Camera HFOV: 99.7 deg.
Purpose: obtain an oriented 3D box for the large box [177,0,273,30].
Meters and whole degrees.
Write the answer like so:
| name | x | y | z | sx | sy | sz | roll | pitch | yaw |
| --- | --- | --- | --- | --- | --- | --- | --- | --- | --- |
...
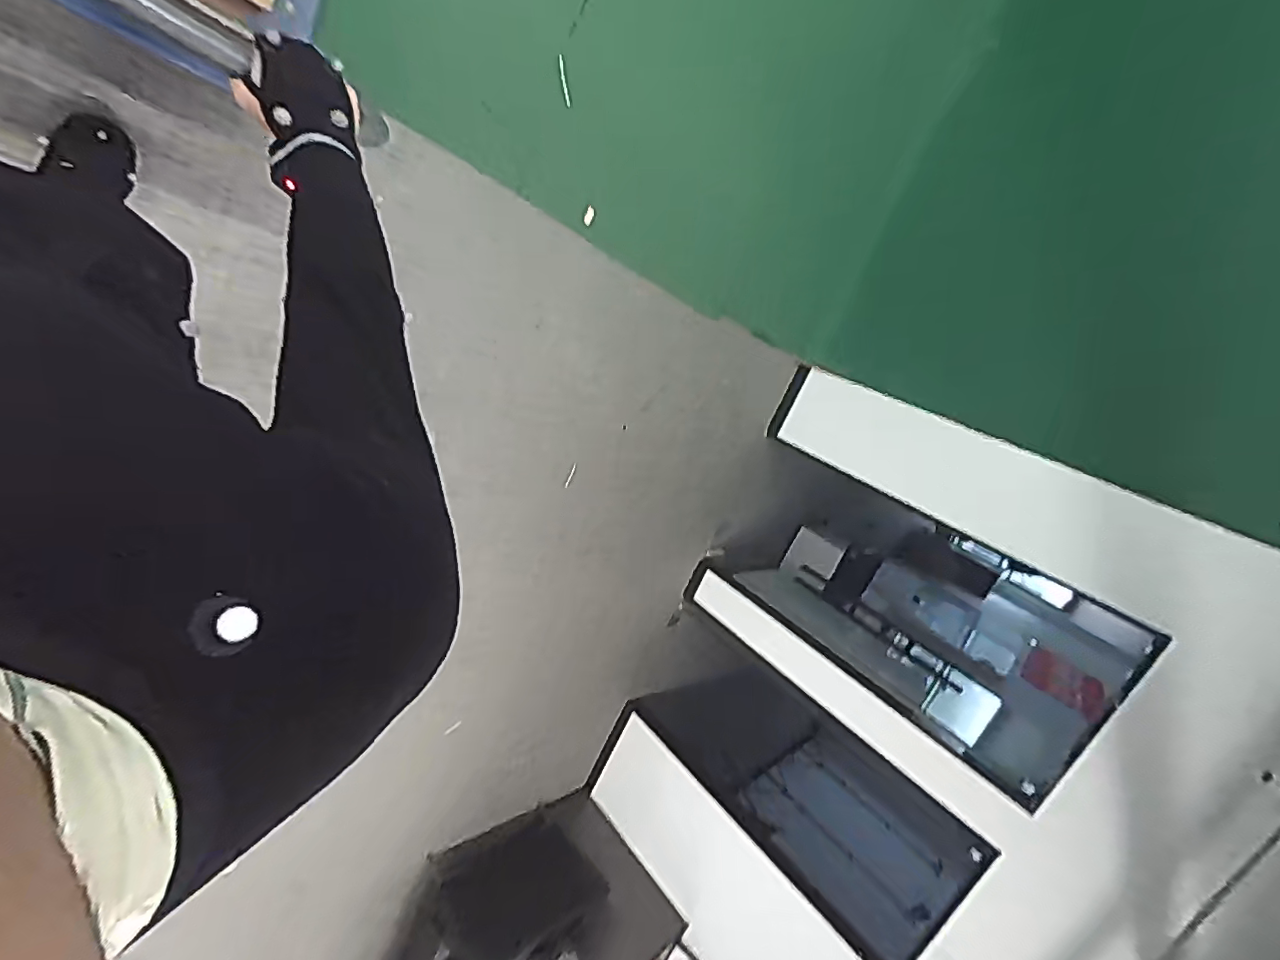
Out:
| name | x | y | z | sx | sy | sz | roll | pitch | yaw |
| --- | --- | --- | --- | --- | --- | --- | --- | --- | --- |
| large box | -0.667 | -0.934 | 0.728 | 0.320 | 0.320 | 0.408 | 9 | 109 | -50 |
